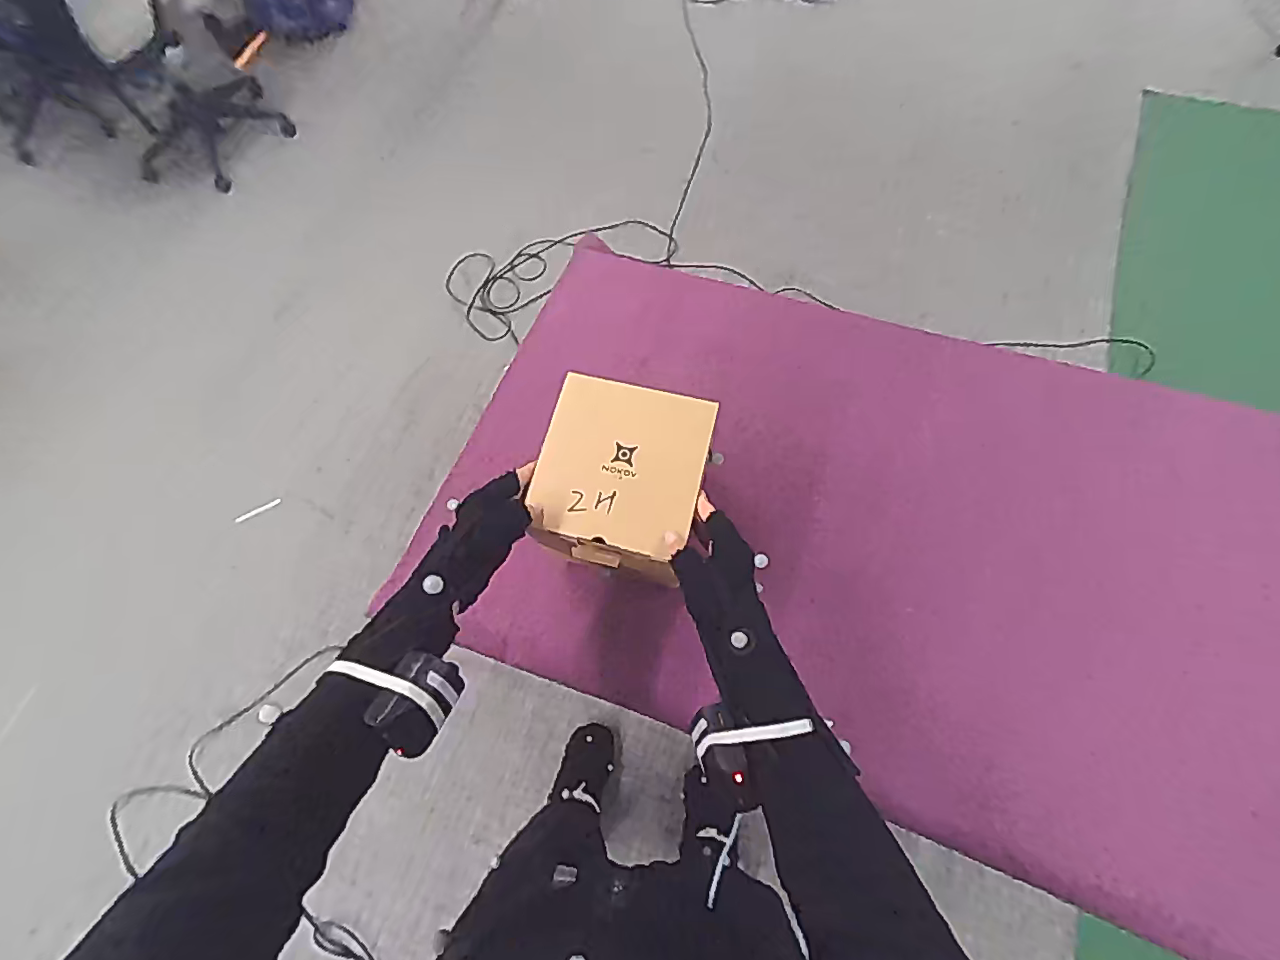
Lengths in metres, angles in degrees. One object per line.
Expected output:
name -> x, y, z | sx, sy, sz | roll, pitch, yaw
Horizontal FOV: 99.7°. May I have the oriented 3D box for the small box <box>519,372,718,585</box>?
small box -> -0.017, 0.007, 0.623 | 0.168, 0.176, 0.179 | 14, 73, 8
